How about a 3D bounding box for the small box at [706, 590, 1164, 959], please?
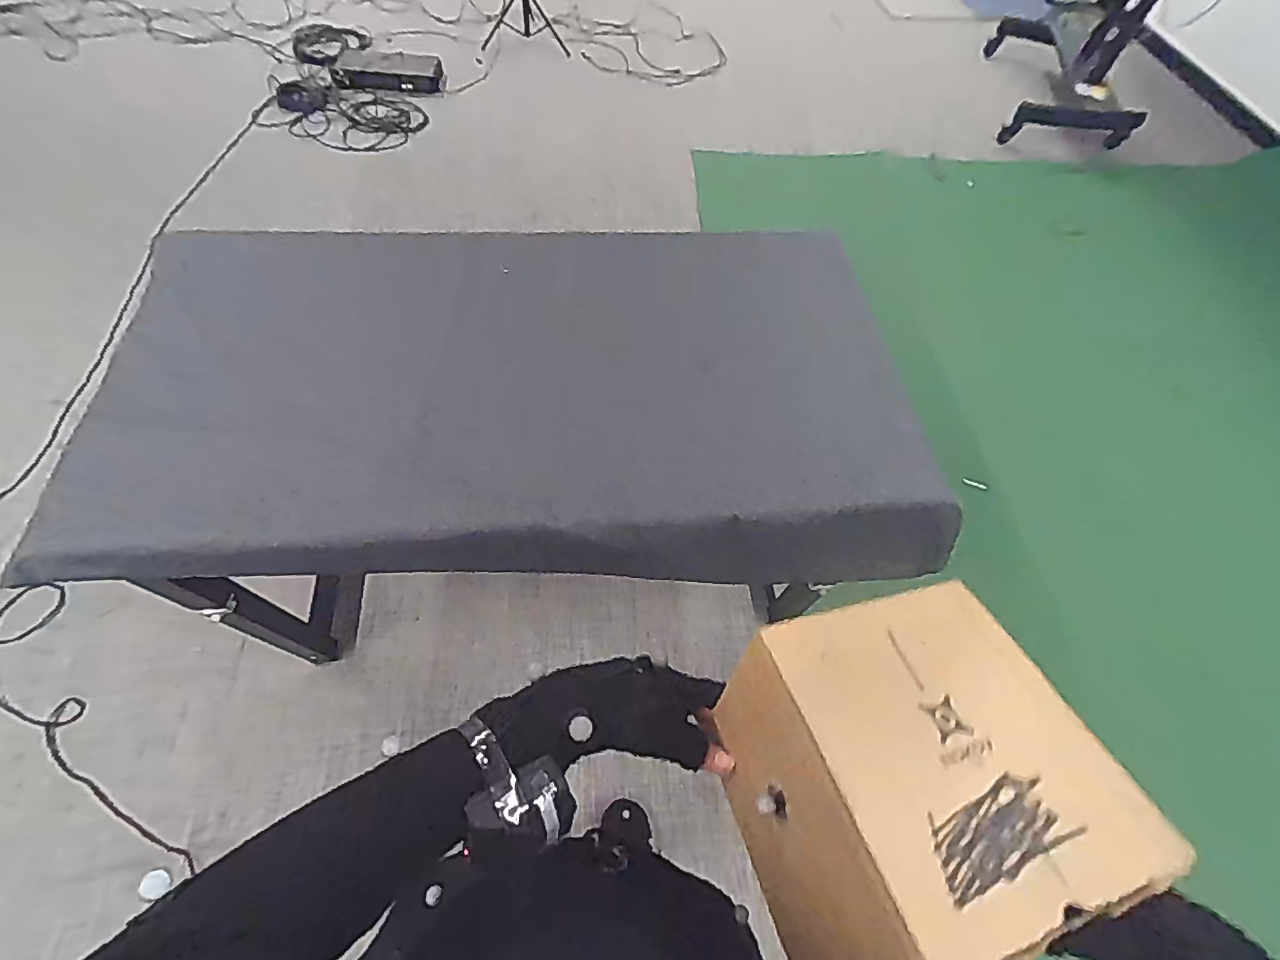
[{"bbox_3d":[0.162,0.205,0.367,0.168,0.176,0.179,-7,46,-17],"label":"small box"}]
